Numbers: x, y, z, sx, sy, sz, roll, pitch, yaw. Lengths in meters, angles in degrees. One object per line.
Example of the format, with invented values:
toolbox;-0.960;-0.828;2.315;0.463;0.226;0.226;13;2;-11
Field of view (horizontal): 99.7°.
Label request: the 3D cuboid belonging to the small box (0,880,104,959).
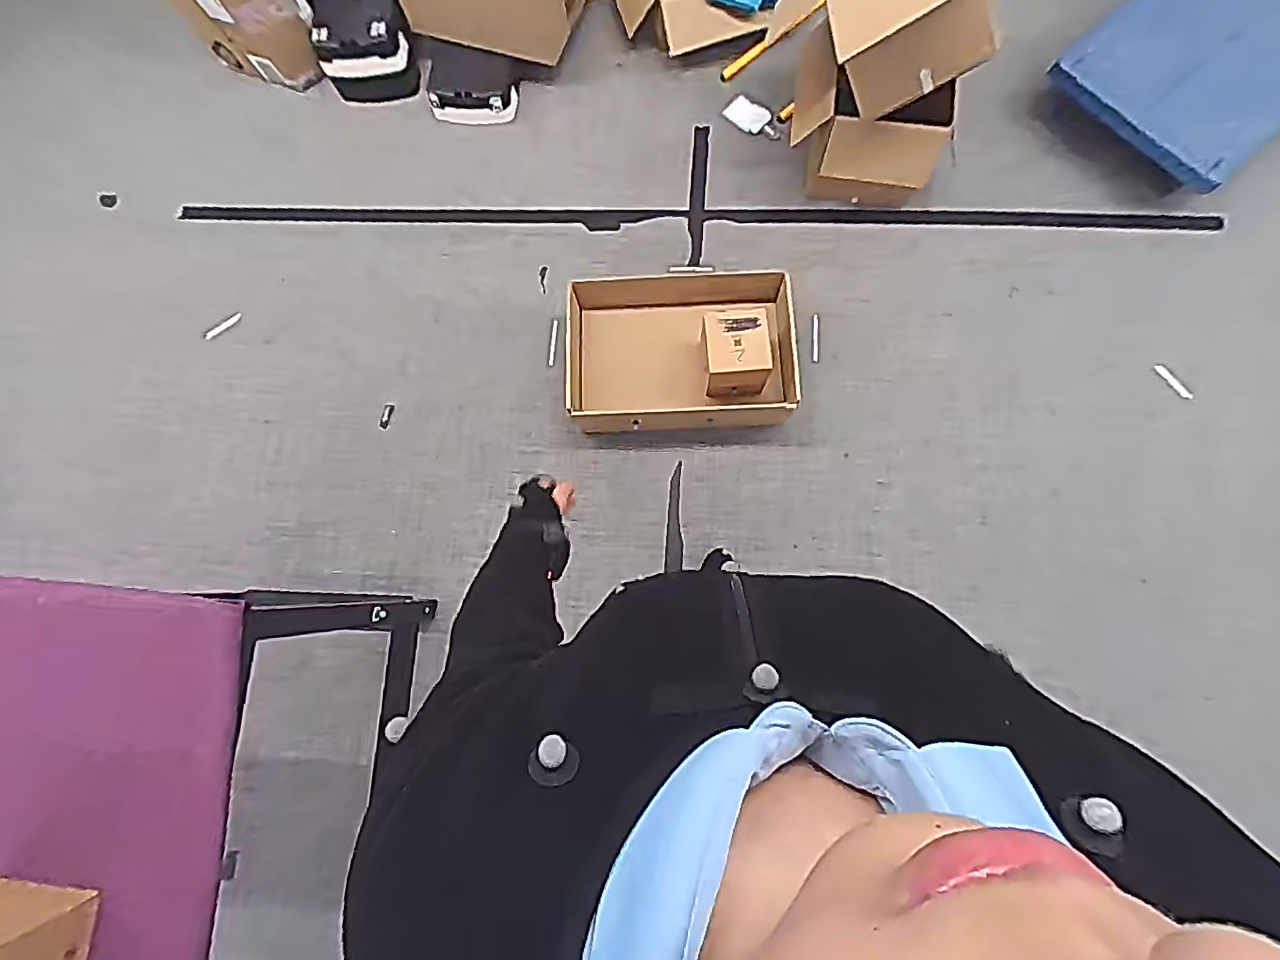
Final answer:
small box;-0.840;0.629;0.665;0.179;0.176;0.168;3;79;5
